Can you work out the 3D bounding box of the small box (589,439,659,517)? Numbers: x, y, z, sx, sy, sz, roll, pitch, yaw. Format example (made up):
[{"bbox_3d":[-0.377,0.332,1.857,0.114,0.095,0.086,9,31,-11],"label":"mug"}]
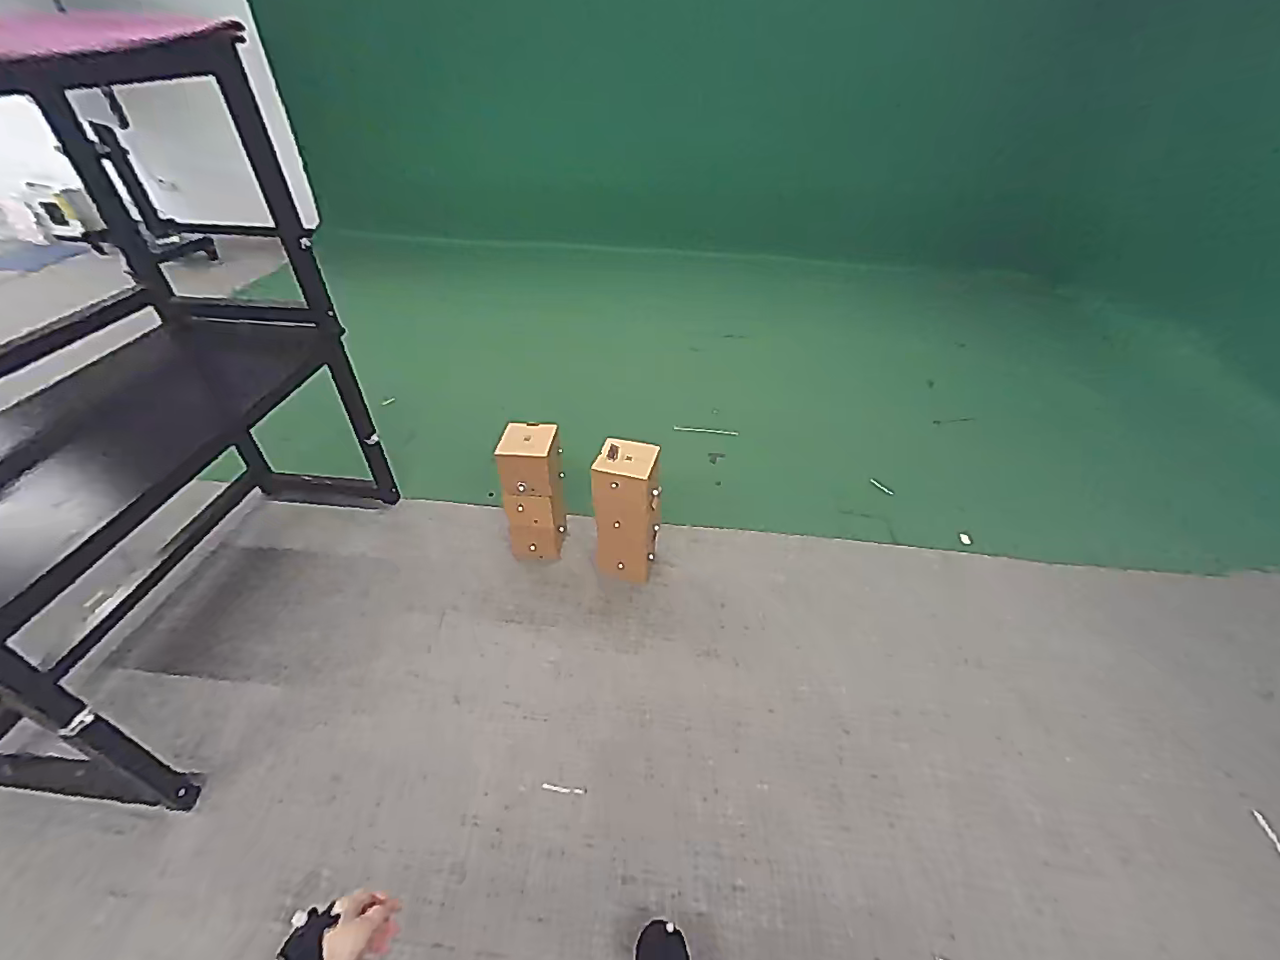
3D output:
[{"bbox_3d":[-0.046,-0.005,1.687,0.179,0.176,0.168,10,42,11],"label":"small box"}]

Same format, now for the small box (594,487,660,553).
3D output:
[{"bbox_3d":[-0.040,0.120,1.793,0.179,0.176,0.168,12,43,13],"label":"small box"}]

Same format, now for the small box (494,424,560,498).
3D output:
[{"bbox_3d":[-0.360,-0.063,1.758,0.168,0.176,0.179,1,40,4],"label":"small box"}]

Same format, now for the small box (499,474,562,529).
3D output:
[{"bbox_3d":[-0.371,0.052,1.874,0.168,0.176,0.179,4,39,5],"label":"small box"}]
